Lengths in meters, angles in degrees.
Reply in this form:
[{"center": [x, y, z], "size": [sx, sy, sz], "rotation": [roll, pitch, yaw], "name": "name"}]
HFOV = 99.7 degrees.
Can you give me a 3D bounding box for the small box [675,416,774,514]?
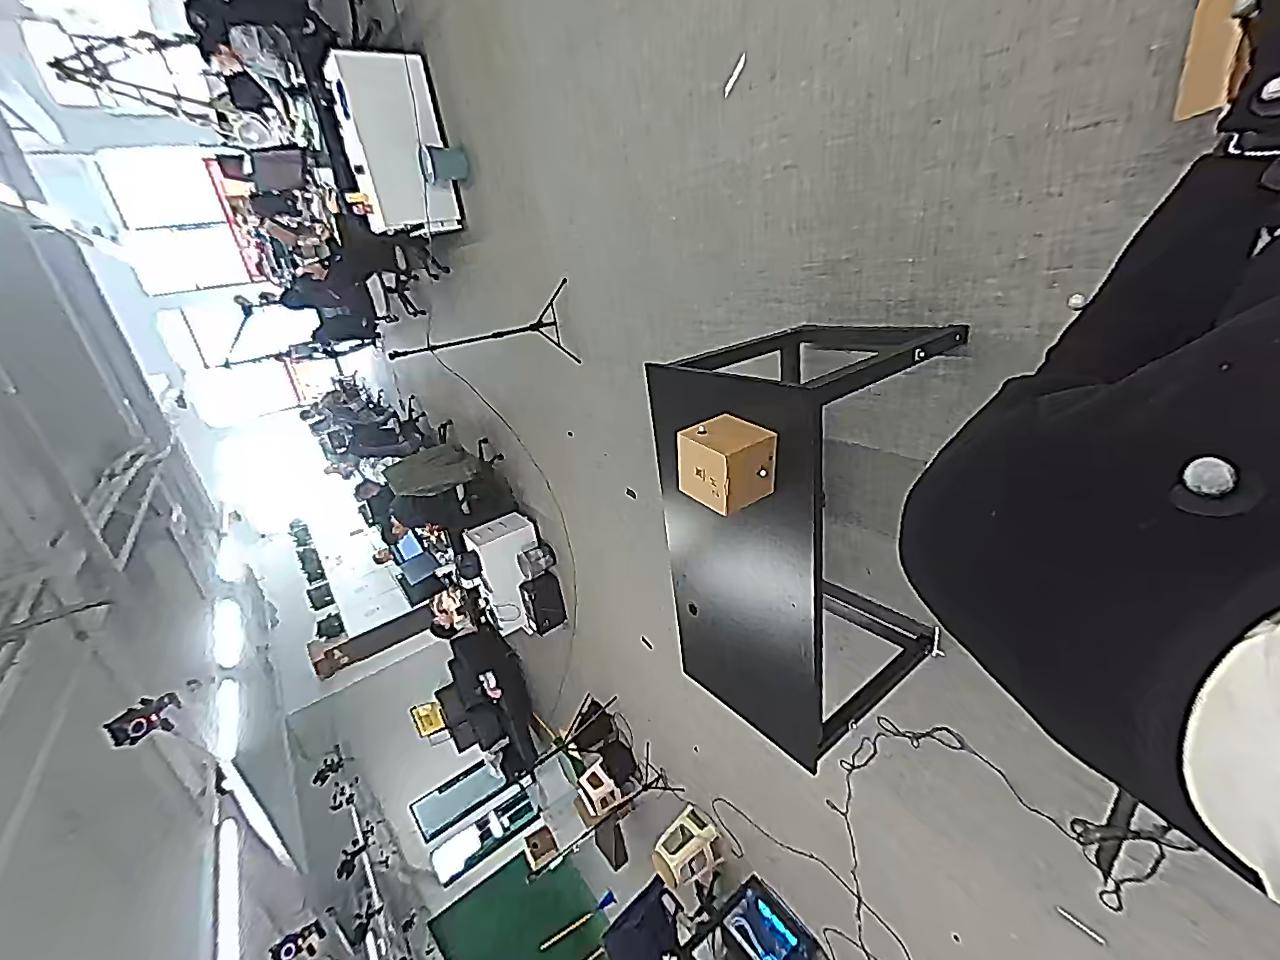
[{"center": [0.205, -0.046, 1.332], "size": [0.179, 0.176, 0.168], "rotation": [32, 136, 45], "name": "small box"}]
